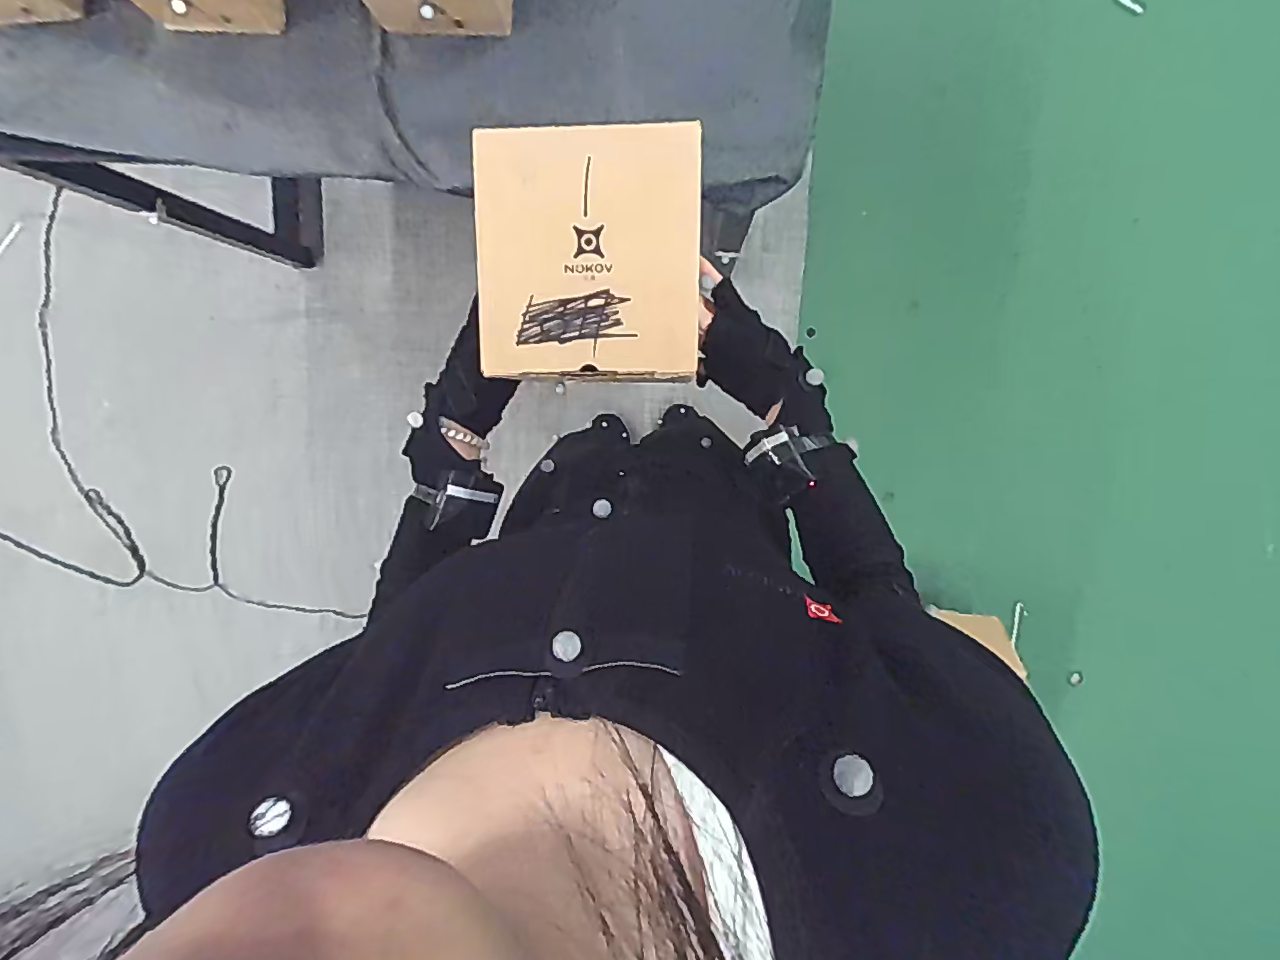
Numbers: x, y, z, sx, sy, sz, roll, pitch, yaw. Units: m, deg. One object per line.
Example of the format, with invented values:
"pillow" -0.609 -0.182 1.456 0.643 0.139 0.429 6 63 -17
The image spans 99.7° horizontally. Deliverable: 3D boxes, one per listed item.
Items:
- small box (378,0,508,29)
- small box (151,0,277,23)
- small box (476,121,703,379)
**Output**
"small box" -0.242 -0.643 0.584 0.168 0.176 0.179 5 99 3
"small box" -0.539 -0.664 0.600 0.168 0.176 0.179 5 99 2
"small box" -0.032 -0.179 0.474 0.168 0.176 0.179 0 99 3
